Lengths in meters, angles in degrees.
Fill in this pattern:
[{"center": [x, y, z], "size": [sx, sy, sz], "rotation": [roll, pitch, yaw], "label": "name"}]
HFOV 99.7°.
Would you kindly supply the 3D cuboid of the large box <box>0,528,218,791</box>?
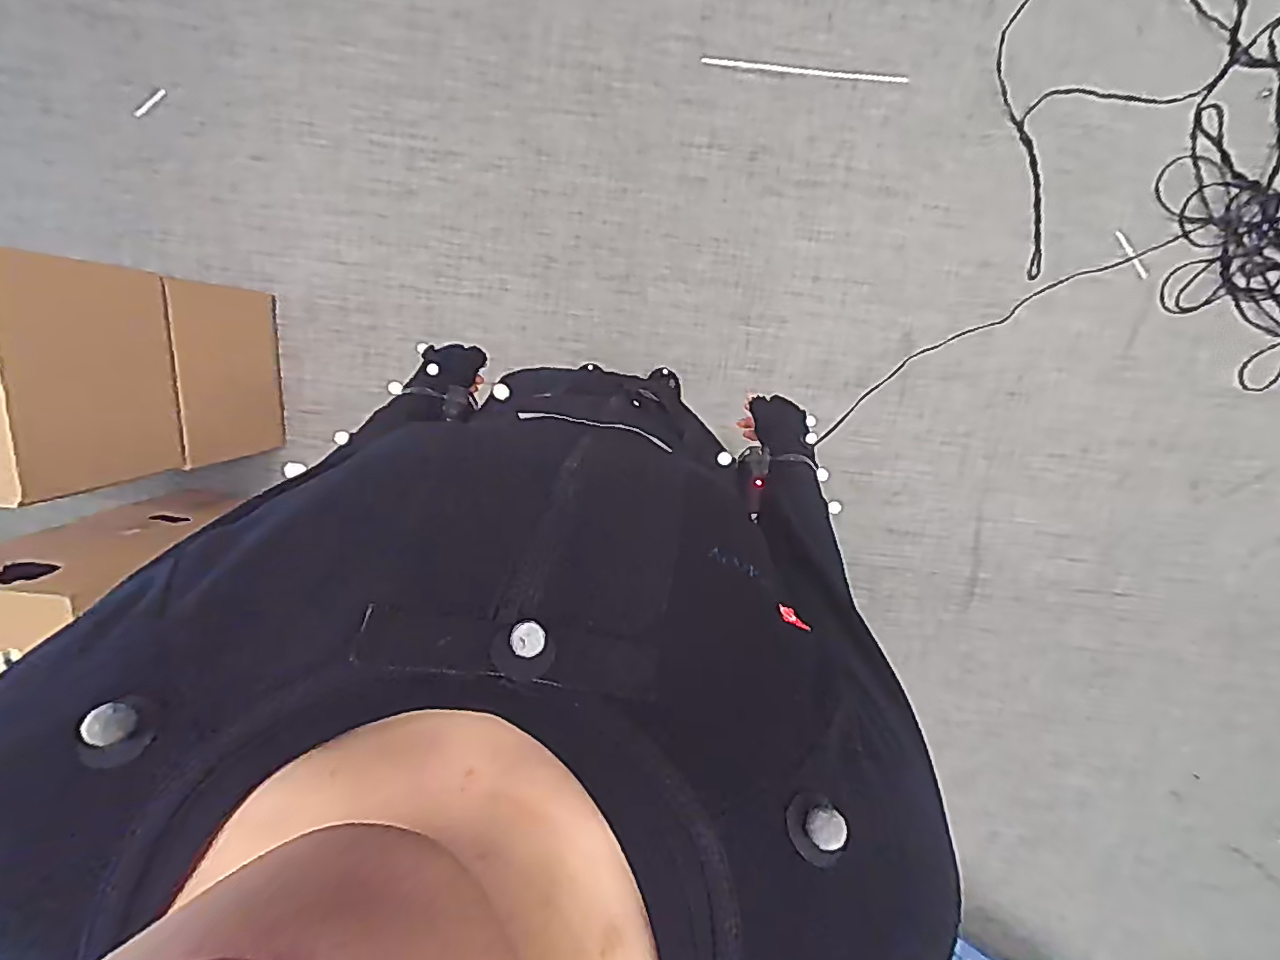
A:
[{"center": [-1.144, 0.344, 1.110], "size": [0.320, 0.320, 0.408], "rotation": [6, 102, -2], "label": "large box"}]
